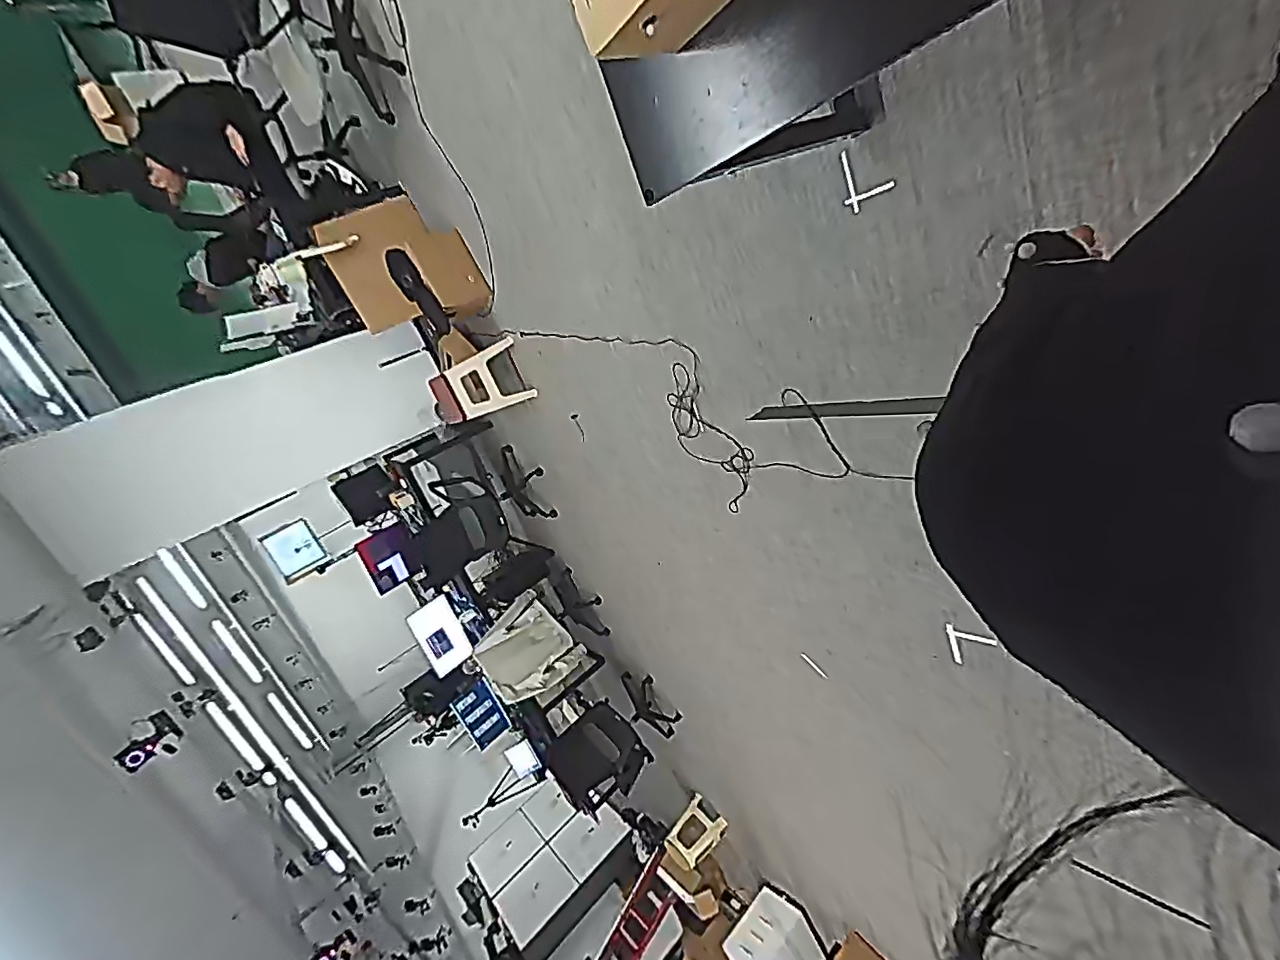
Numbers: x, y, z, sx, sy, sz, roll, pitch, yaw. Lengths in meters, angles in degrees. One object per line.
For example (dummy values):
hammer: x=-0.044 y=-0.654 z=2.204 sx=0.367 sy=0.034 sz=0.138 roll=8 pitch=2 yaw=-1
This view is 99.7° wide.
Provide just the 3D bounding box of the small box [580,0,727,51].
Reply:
small box: x=0.023 y=-0.692 z=0.692 sx=0.179 sy=0.176 sz=0.168 roll=1 pitch=119 yaw=53
